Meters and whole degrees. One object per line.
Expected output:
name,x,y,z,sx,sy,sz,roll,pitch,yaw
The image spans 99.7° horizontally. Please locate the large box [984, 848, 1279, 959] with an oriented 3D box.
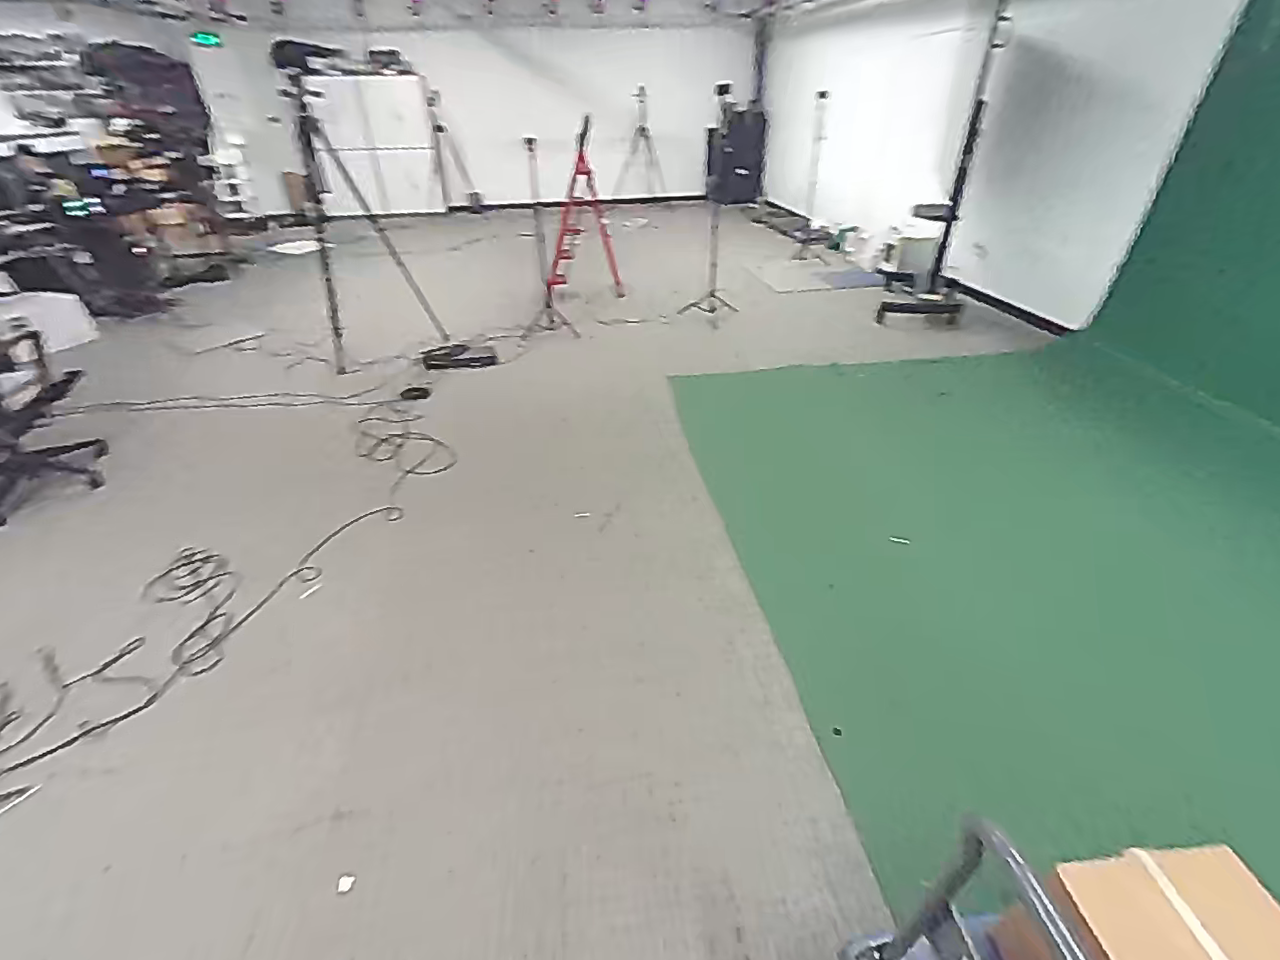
large box,0.844,0.871,0.839,0.320,0.320,0.408,-4,36,-3
